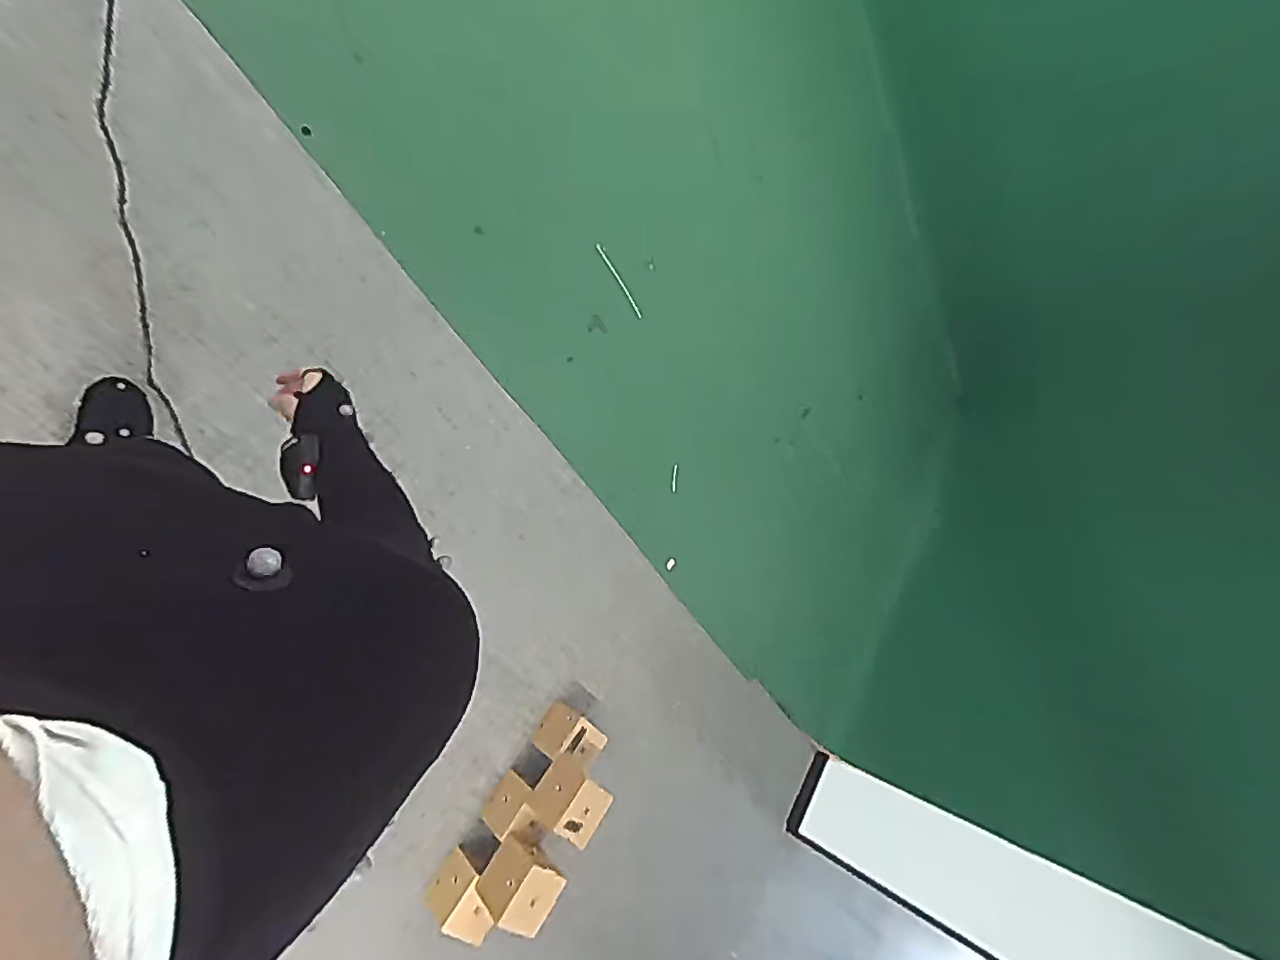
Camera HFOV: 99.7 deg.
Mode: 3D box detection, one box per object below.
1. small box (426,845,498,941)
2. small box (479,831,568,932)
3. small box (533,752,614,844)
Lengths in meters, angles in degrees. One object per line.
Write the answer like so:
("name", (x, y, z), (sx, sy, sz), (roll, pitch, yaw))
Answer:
("small box", (-0.549, 1.313, 1.732), (0.168, 0.176, 0.179), (-53, 125, -25))
("small box", (-0.364, 1.230, 1.668), (0.179, 0.176, 0.168), (-53, 124, -22))
("small box", (-0.227, 1.034, 1.768), (0.179, 0.176, 0.168), (-52, 124, -26))
